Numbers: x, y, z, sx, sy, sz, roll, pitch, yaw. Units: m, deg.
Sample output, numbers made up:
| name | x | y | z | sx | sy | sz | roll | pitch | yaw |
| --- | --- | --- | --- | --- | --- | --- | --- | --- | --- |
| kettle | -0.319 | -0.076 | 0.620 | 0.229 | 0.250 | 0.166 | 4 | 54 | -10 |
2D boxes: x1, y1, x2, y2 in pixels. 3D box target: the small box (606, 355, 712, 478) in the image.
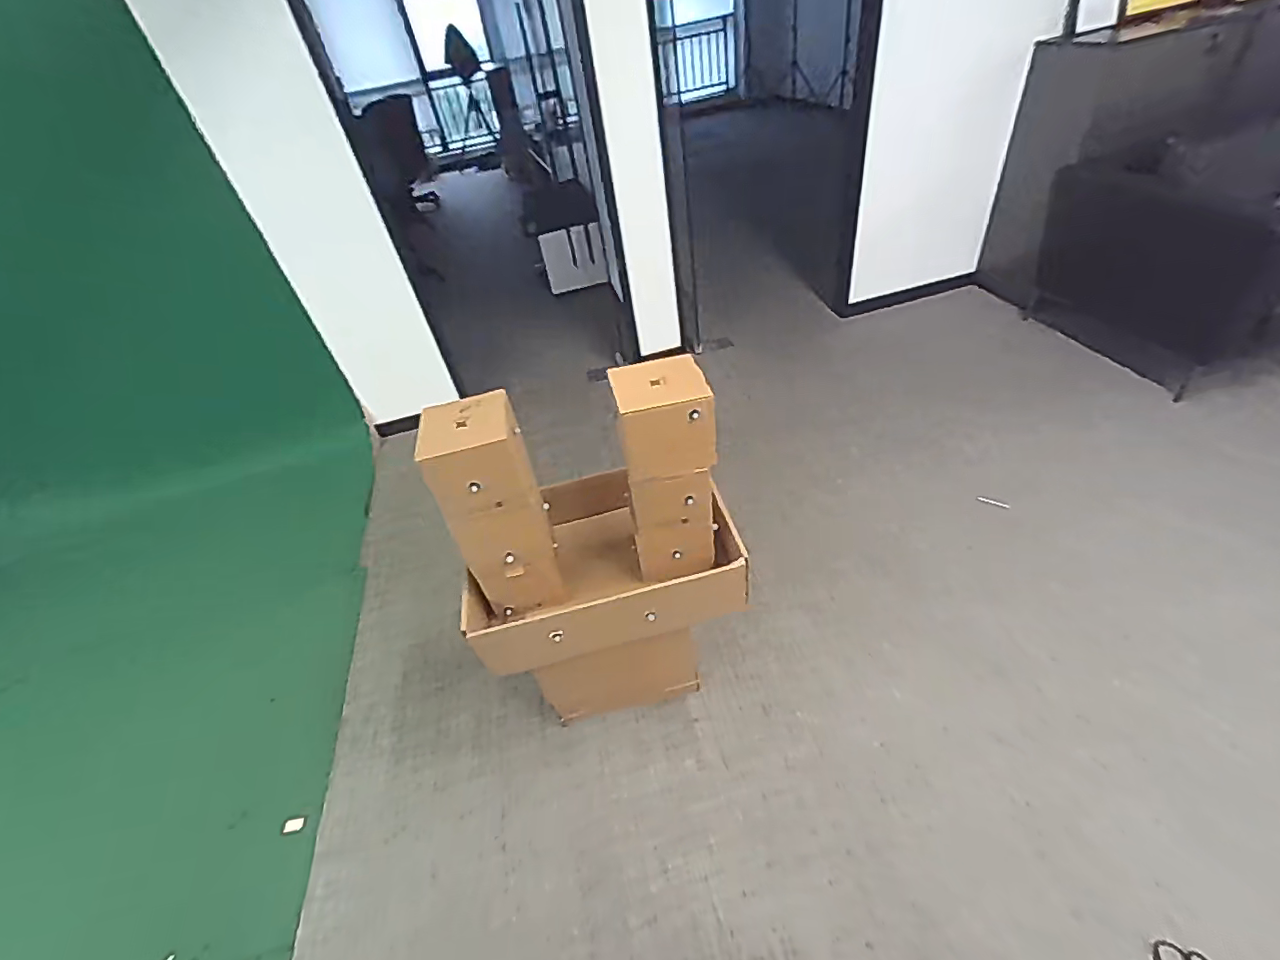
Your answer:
| name | x | y | z | sx | sy | sz | roll | pitch | yaw |
| --- | --- | --- | --- | --- | --- | --- | --- | --- | --- |
| small box | 0.040 | -0.125 | 1.081 | 0.179 | 0.176 | 0.168 | -12 | 41 | -5 |

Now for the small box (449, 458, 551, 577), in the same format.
| name | x | y | z | sx | sy | sz | roll | pitch | yaw |
| --- | --- | --- | --- | --- | --- | --- | --- | --- | --- |
| small box | -0.297 | 0.082 | 1.174 | 0.179 | 0.176 | 0.168 | -16 | 41 | -5 |

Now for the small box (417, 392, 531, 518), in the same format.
| name | x | y | z | sx | sy | sz | roll | pitch | yaw |
| --- | --- | --- | --- | --- | --- | --- | --- | --- | --- |
| small box | -0.319 | -0.043 | 1.067 | 0.168 | 0.176 | 0.179 | -14 | 41 | -3 |

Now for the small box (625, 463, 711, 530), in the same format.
| name | x | y | z | sx | sy | sz | roll | pitch | yaw |
| --- | --- | --- | --- | --- | --- | --- | --- | --- | --- |
| small box | 0.059 | -0.005 | 1.190 | 0.168 | 0.176 | 0.179 | -10 | 41 | 0 |
